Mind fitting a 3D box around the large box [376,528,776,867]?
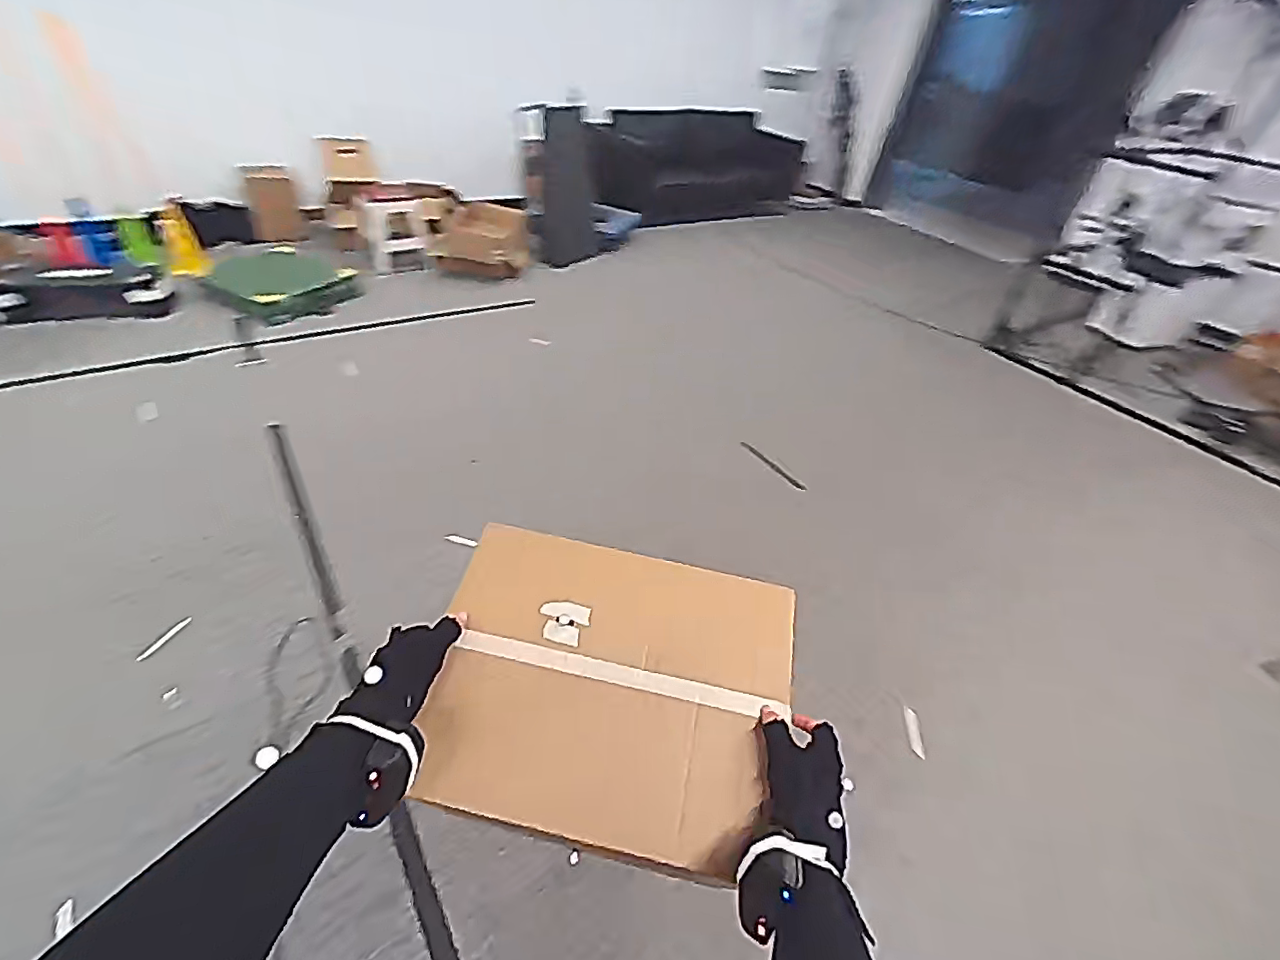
[{"bbox_3d":[-0.052,0.303,0.737,0.408,0.320,0.320,11,54,4],"label":"large box"}]
